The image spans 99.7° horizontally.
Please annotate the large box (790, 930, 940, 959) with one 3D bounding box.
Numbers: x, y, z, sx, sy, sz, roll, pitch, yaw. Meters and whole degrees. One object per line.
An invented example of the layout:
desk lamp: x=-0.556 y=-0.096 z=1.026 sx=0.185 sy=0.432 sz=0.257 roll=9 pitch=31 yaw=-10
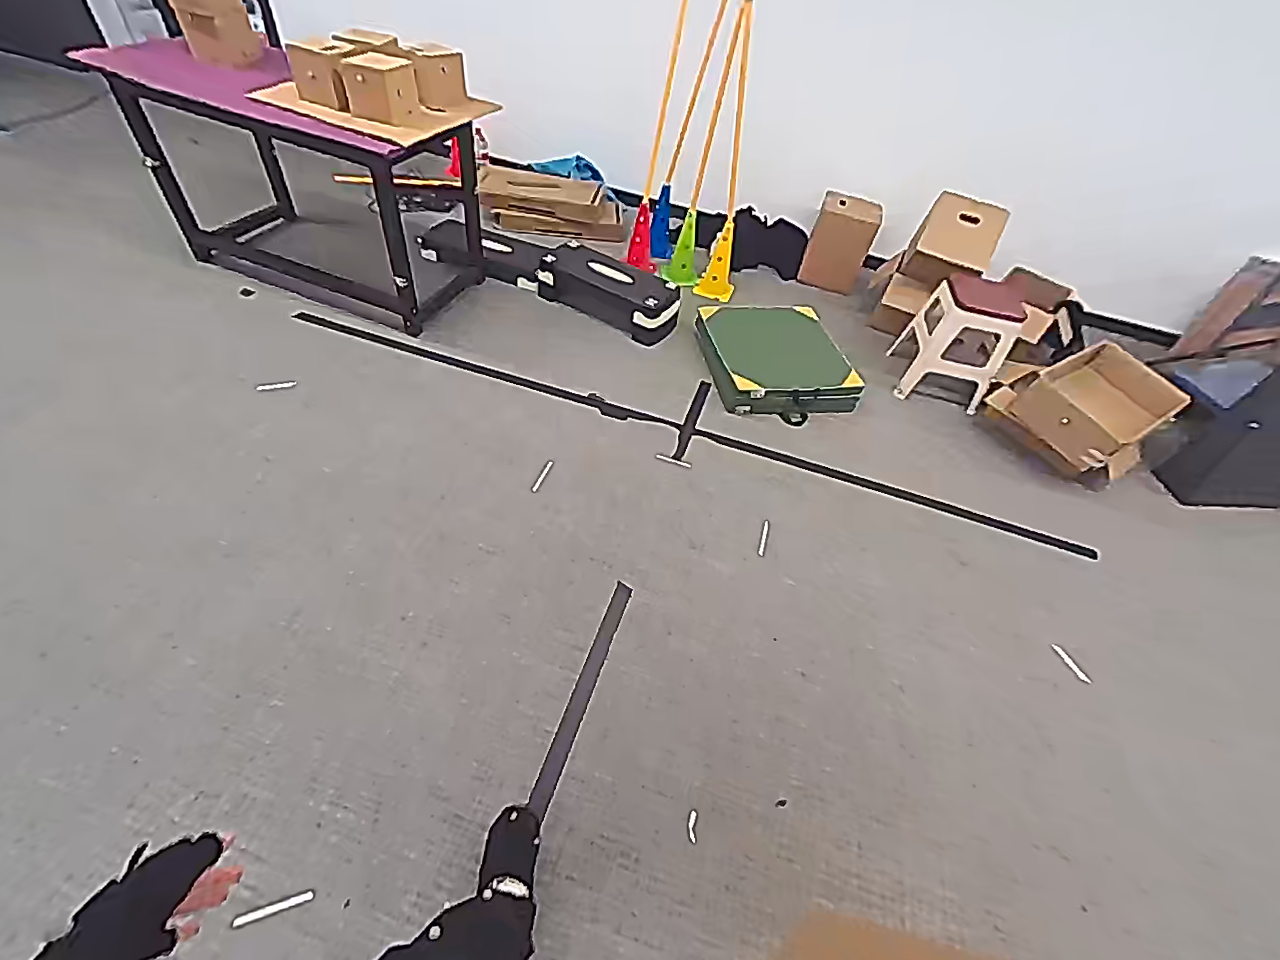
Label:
large box: x=0.309 y=0.785 z=0.583 sx=0.320 sy=0.408 sz=0.320 roll=-28 pitch=71 yaw=-32
